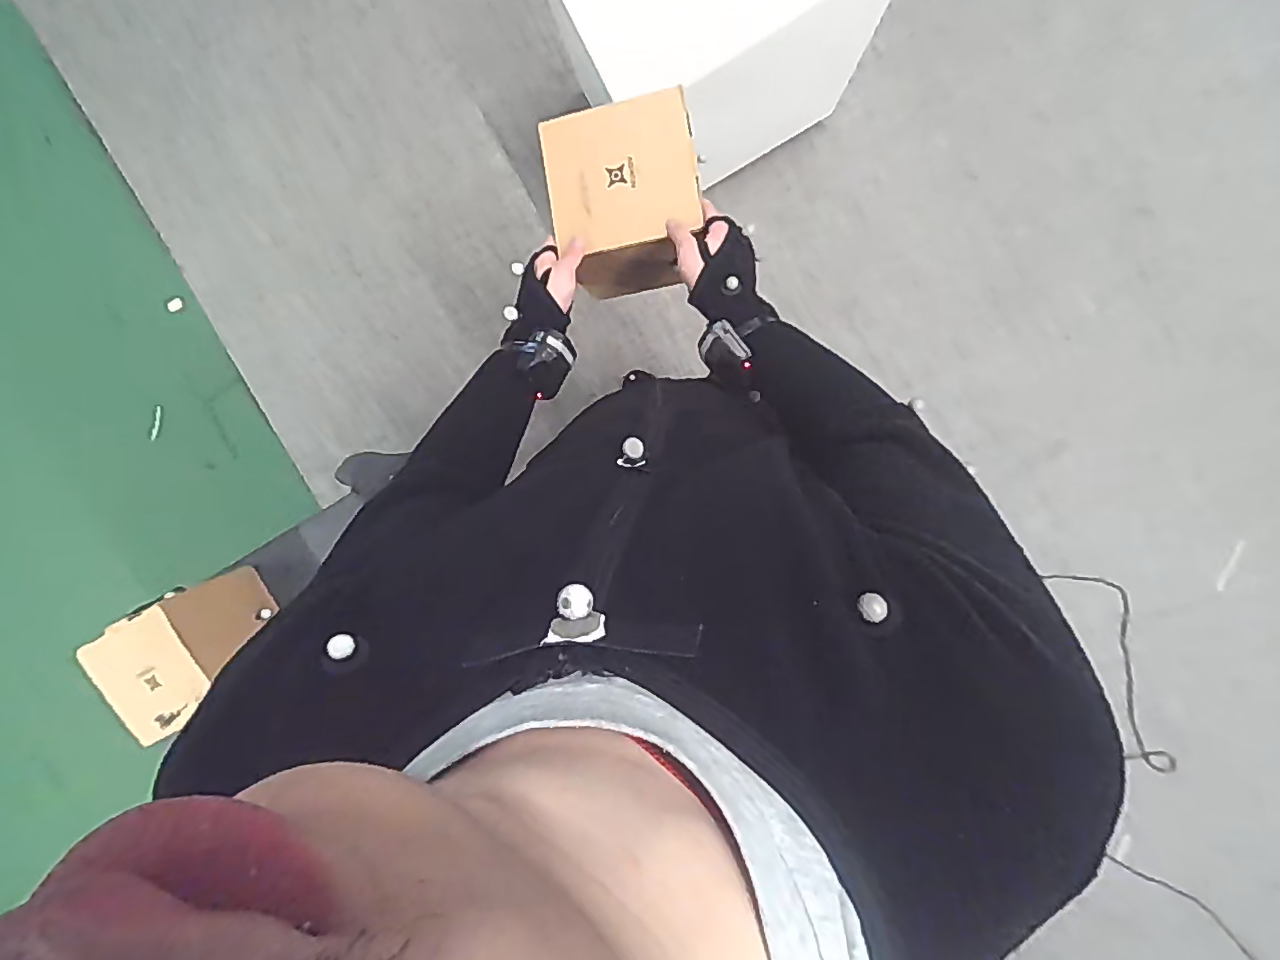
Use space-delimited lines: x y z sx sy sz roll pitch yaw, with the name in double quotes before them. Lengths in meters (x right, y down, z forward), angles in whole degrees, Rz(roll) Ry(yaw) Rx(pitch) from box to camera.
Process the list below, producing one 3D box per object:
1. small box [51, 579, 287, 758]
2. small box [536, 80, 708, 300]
"small box" -0.696 0.269 0.820 0.168 0.176 0.179 -27 97 8
"small box" -0.011 -0.346 0.680 0.179 0.176 0.168 -9 89 10
